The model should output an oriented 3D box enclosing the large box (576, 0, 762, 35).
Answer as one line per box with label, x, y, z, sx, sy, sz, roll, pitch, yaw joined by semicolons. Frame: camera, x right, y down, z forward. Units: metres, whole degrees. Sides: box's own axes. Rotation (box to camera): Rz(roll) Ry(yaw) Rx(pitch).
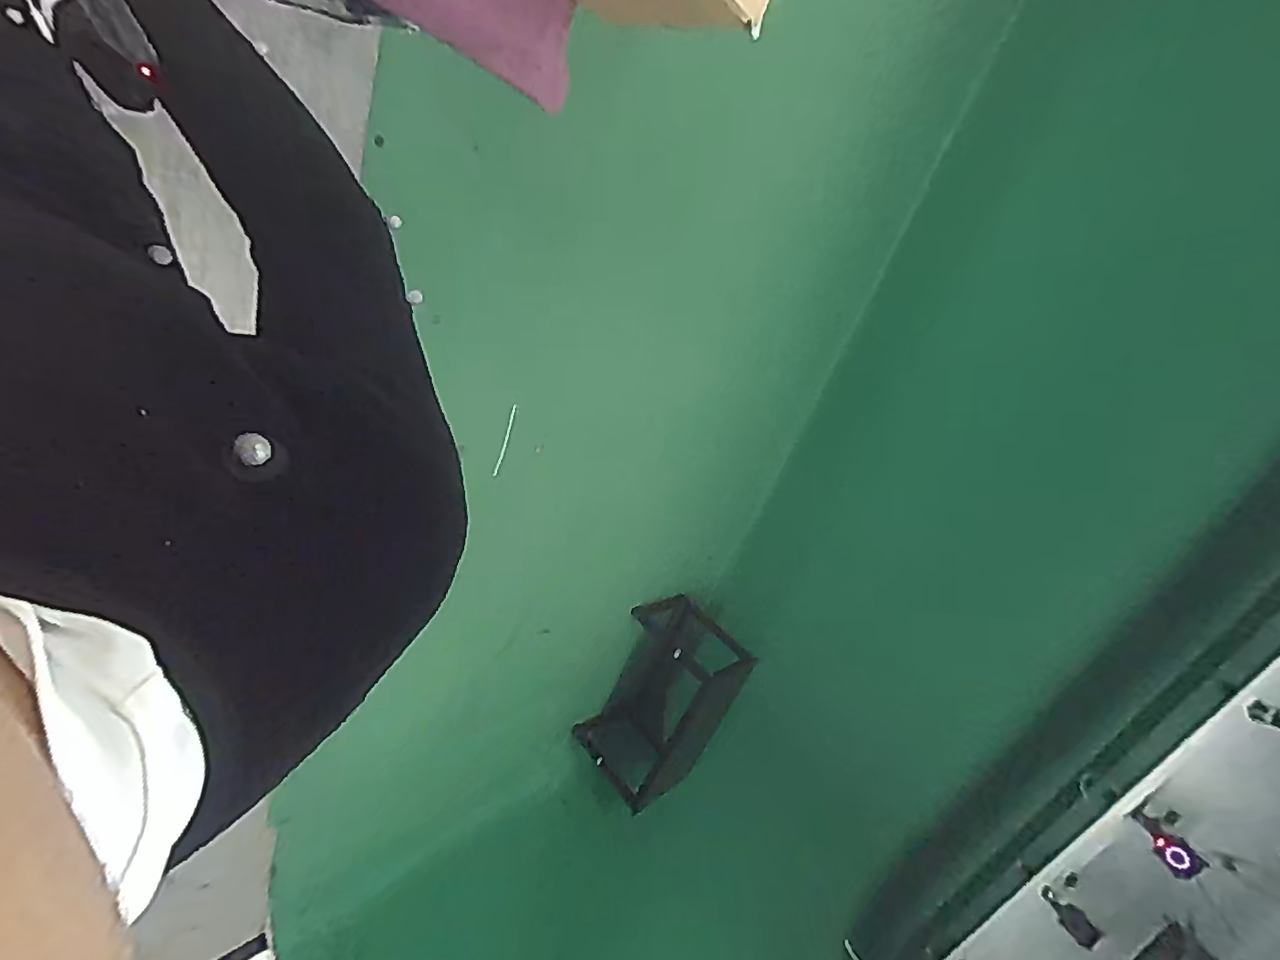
large box;0.009;-0.799;0.576;0.320;0.320;0.408;-3;124;-47
